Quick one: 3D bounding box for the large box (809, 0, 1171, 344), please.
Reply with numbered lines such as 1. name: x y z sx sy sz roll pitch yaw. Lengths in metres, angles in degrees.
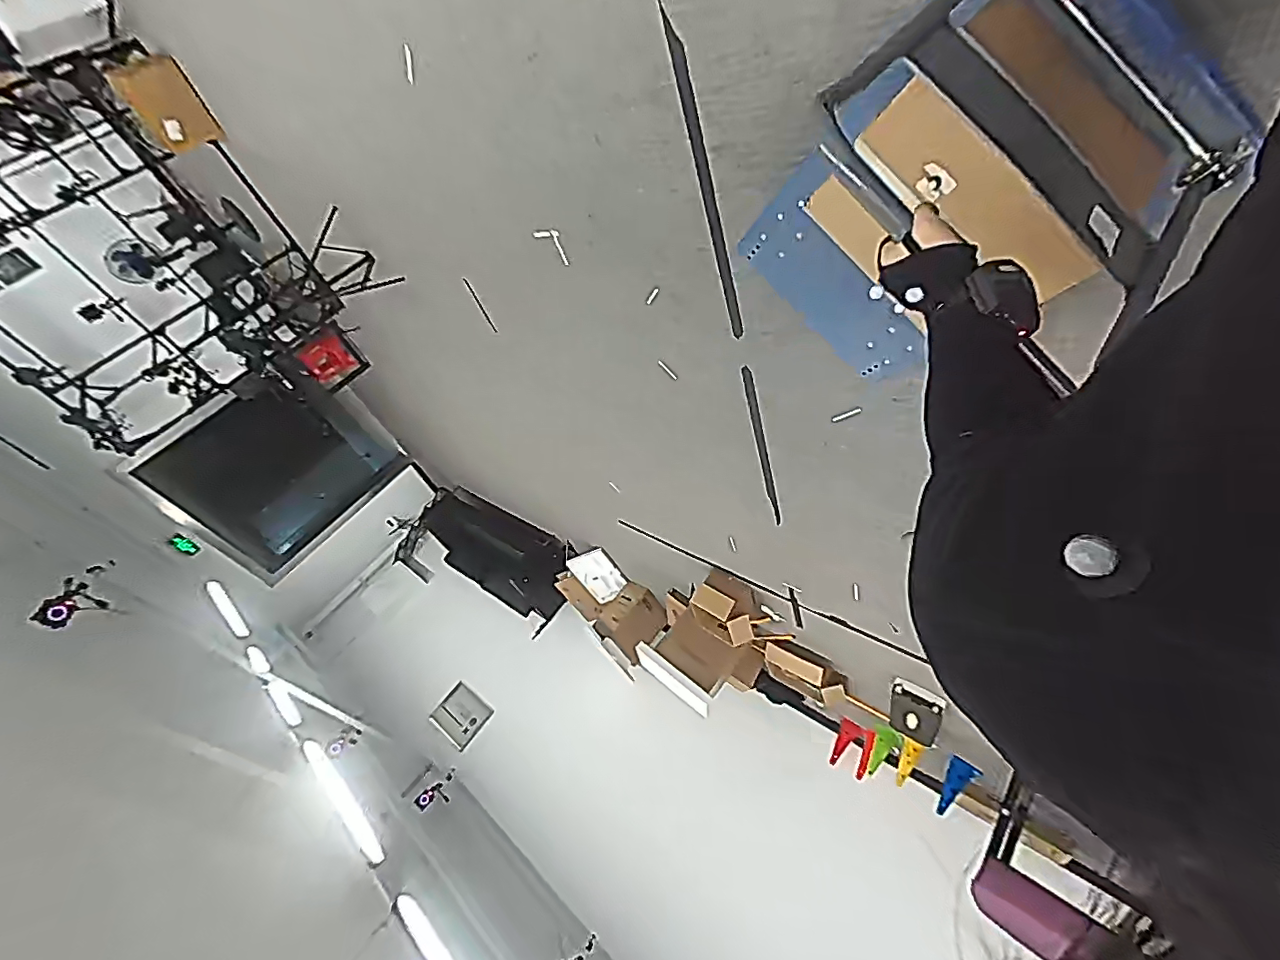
1. large box: 0.601 -0.532 0.957 0.408 0.320 0.320 44 156 -4
